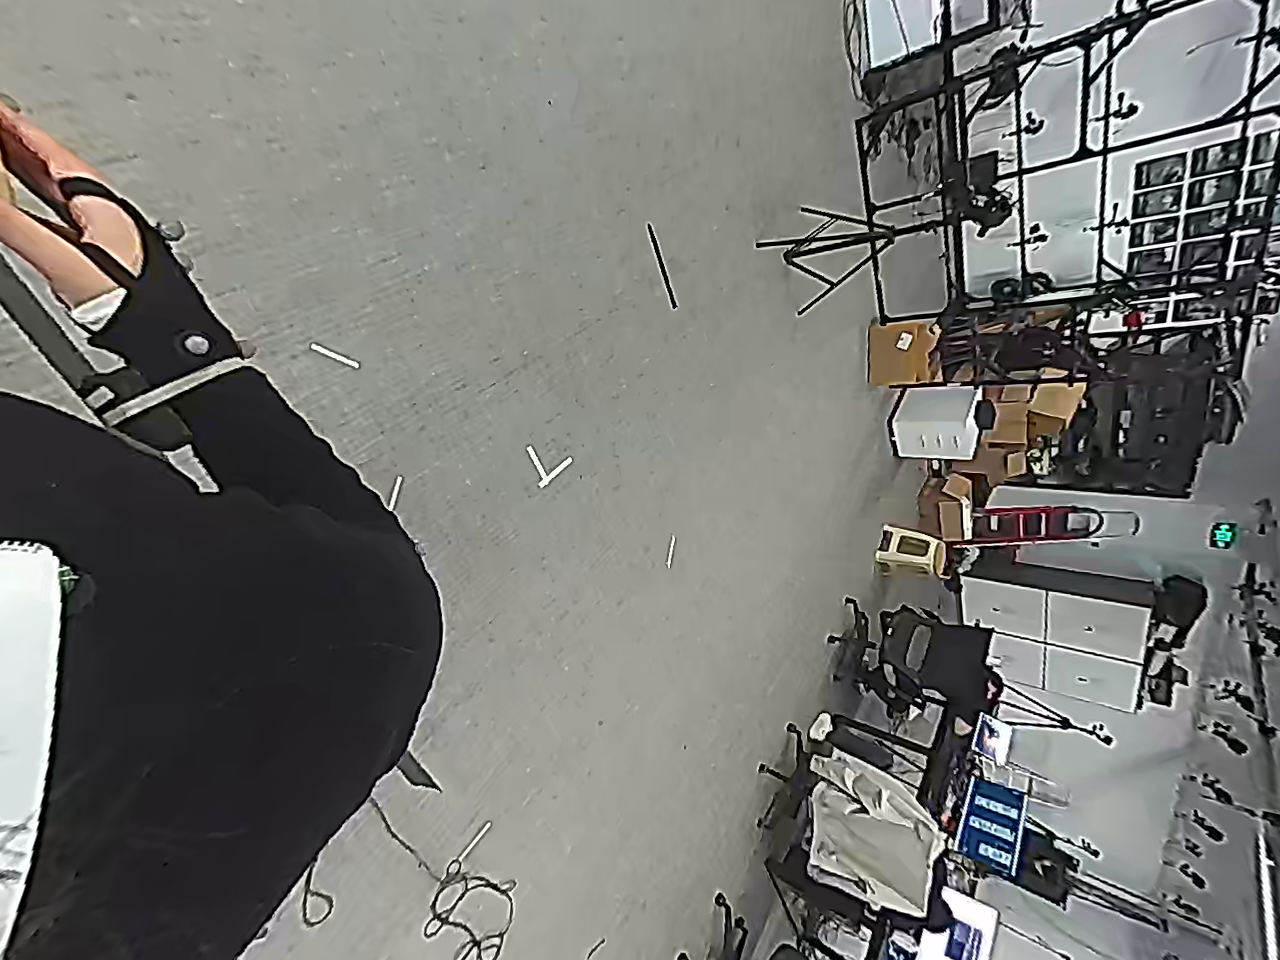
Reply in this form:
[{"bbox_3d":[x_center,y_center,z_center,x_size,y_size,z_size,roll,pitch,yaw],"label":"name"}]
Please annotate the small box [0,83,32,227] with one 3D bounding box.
[{"bbox_3d":[-0.481,-0.240,0.293,0.179,0.176,0.168,-16,114,-45],"label":"small box"}]
